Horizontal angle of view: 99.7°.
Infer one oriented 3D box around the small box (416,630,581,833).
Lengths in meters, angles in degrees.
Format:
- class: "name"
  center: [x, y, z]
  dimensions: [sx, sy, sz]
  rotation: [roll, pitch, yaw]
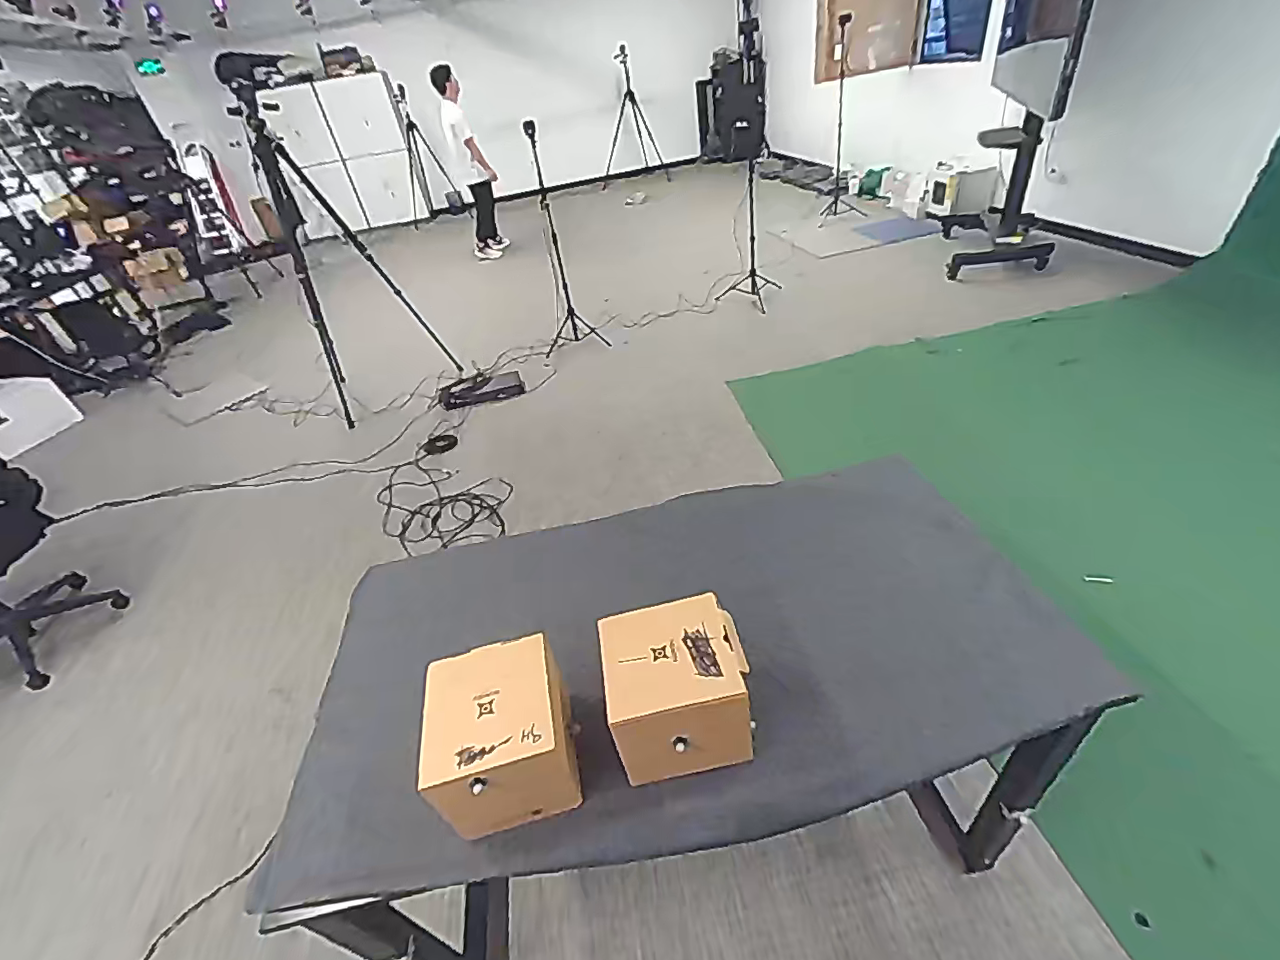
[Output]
- class: "small box"
  center: [-0.186, 0.345, 0.748]
  dimensions: [0.168, 0.176, 0.179]
  rotation: [-15, 38, -4]
